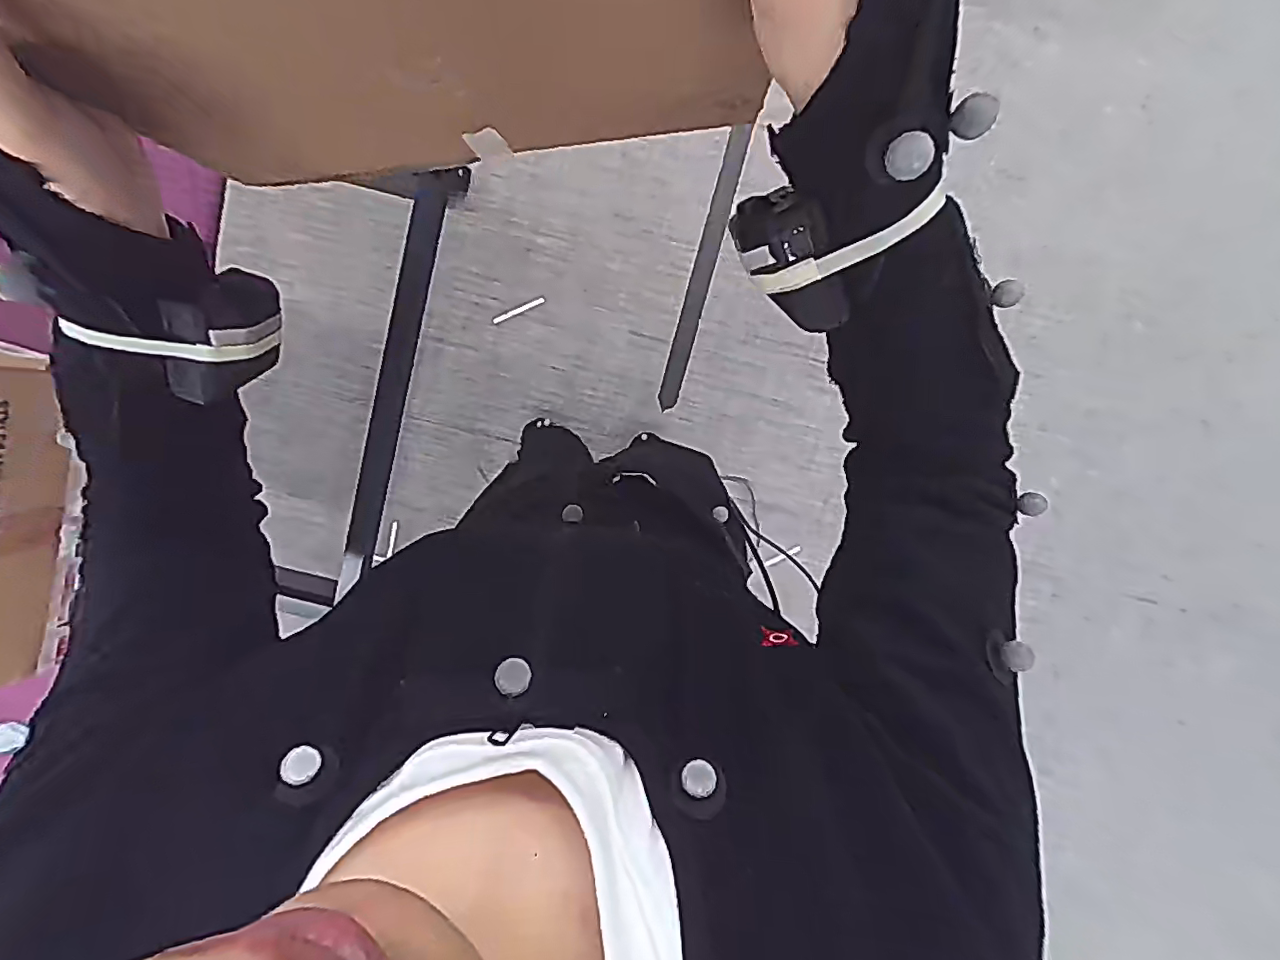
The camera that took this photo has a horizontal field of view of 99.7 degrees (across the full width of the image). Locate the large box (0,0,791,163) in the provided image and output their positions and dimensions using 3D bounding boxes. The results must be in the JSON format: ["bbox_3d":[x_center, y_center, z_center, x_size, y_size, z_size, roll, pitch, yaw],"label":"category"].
[{"bbox_3d":[-0.106,-0.372,0.139,0.320,0.320,0.408,-6,100,4],"label":"large box"}]
